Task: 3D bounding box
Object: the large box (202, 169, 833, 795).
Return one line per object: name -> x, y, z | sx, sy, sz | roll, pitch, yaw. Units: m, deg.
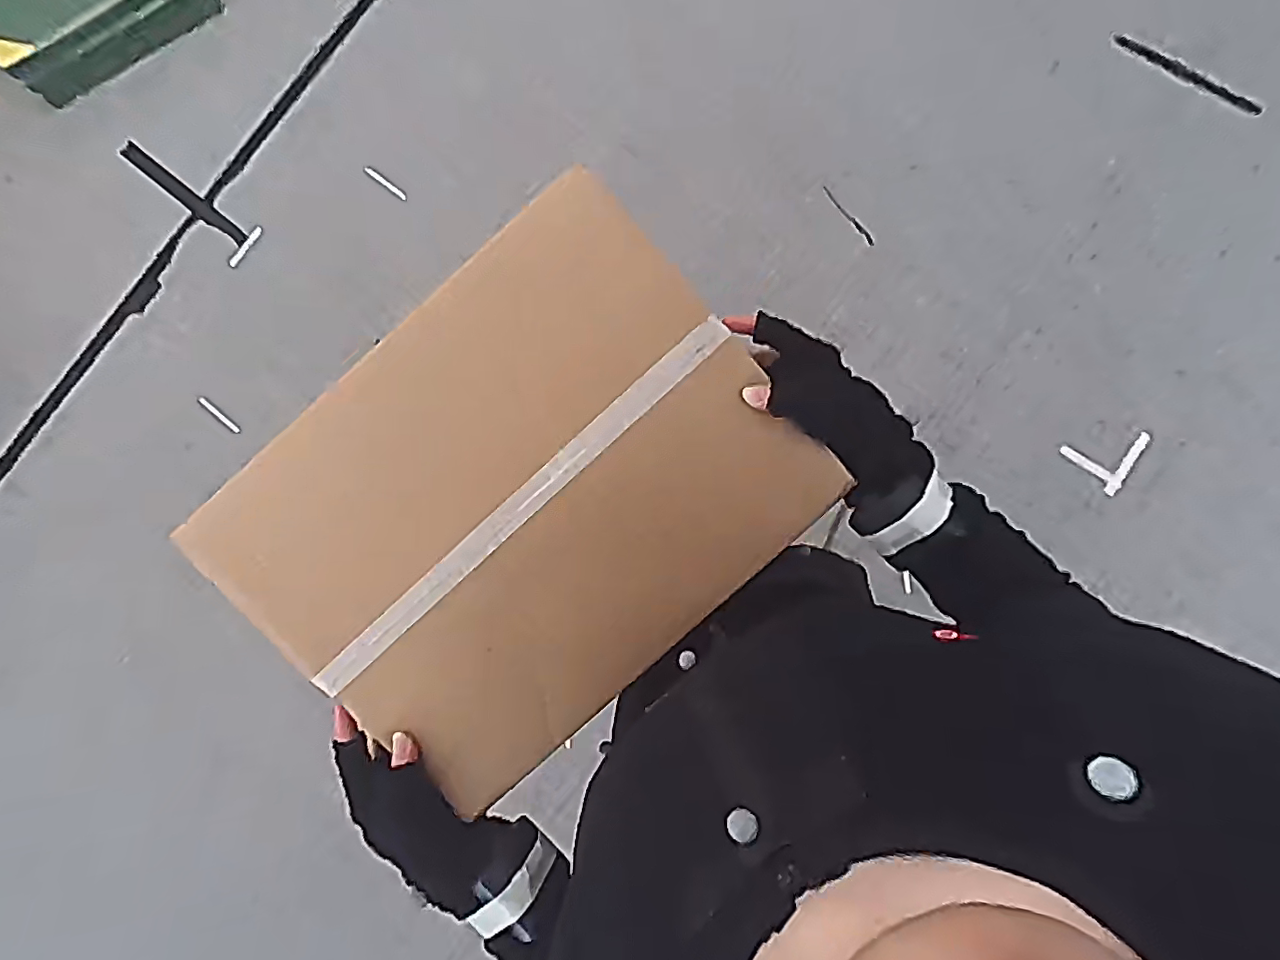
large box -> -0.097, 0.002, 0.565 | 0.408, 0.320, 0.320 | -42, 96, 2
